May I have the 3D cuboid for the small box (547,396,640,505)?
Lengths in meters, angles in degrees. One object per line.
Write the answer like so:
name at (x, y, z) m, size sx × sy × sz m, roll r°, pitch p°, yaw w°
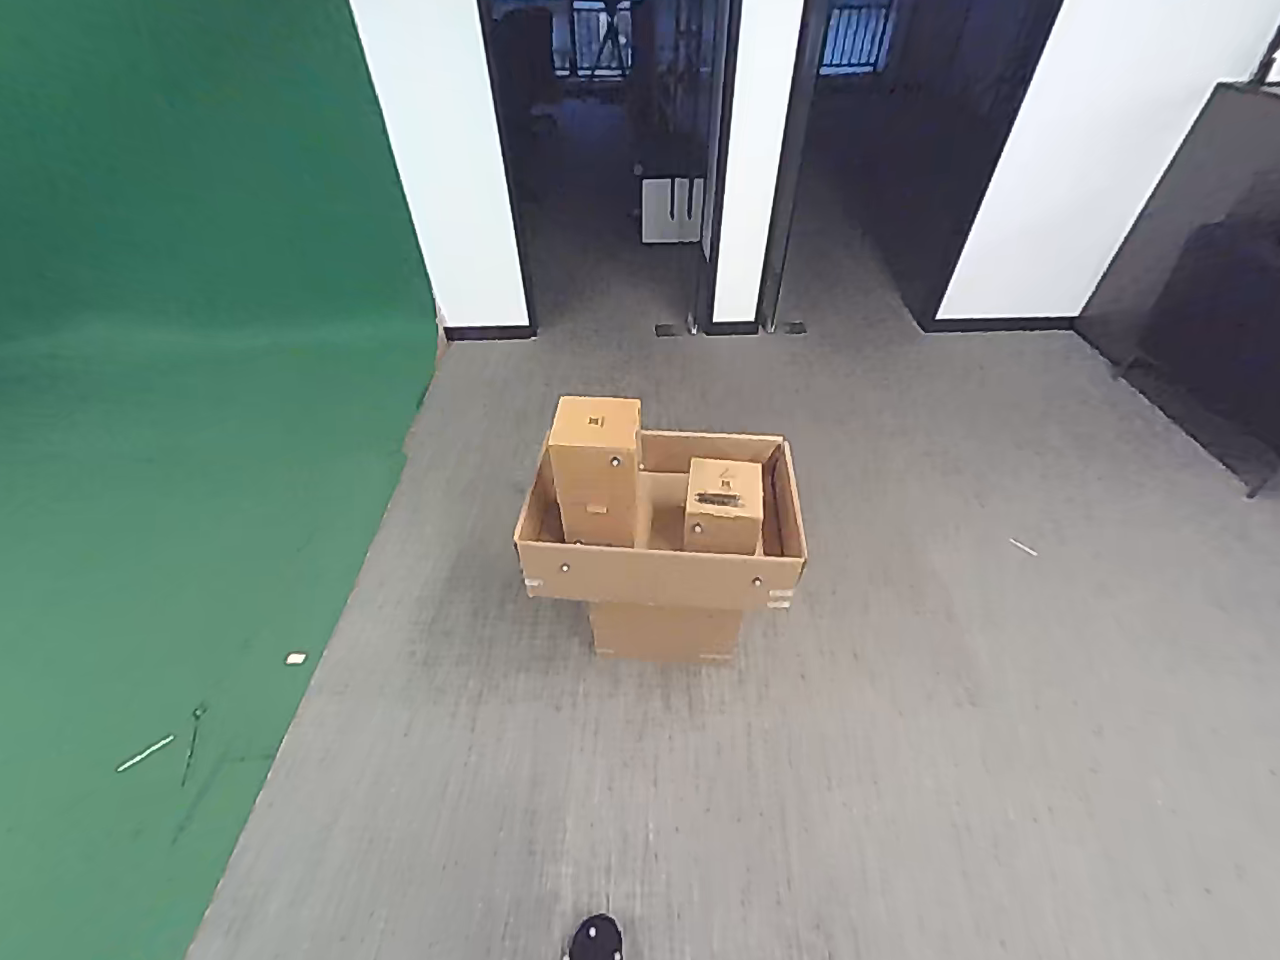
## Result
small box at (-0.093, -0.062, 1.167) m, size 0.179 × 0.176 × 0.168 m, roll 4°, pitch 45°, yaw 1°
